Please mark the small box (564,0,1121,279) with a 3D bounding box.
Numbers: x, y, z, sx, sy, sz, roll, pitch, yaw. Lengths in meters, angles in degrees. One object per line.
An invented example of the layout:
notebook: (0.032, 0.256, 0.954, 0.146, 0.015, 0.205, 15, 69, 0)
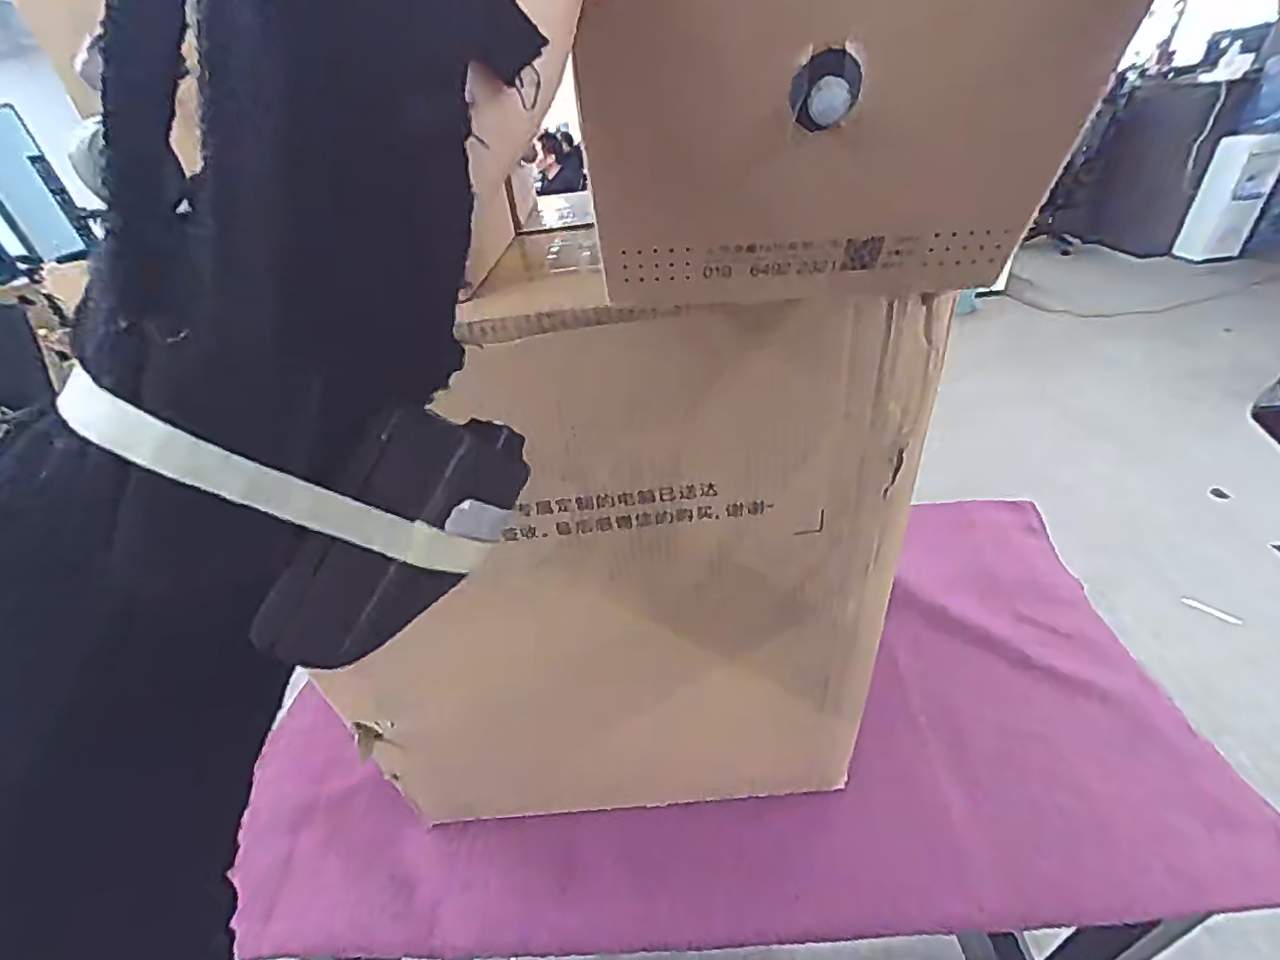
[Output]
small box: (0.062, -0.195, 0.209, 0.168, 0.176, 0.179, -1, 56, 3)
